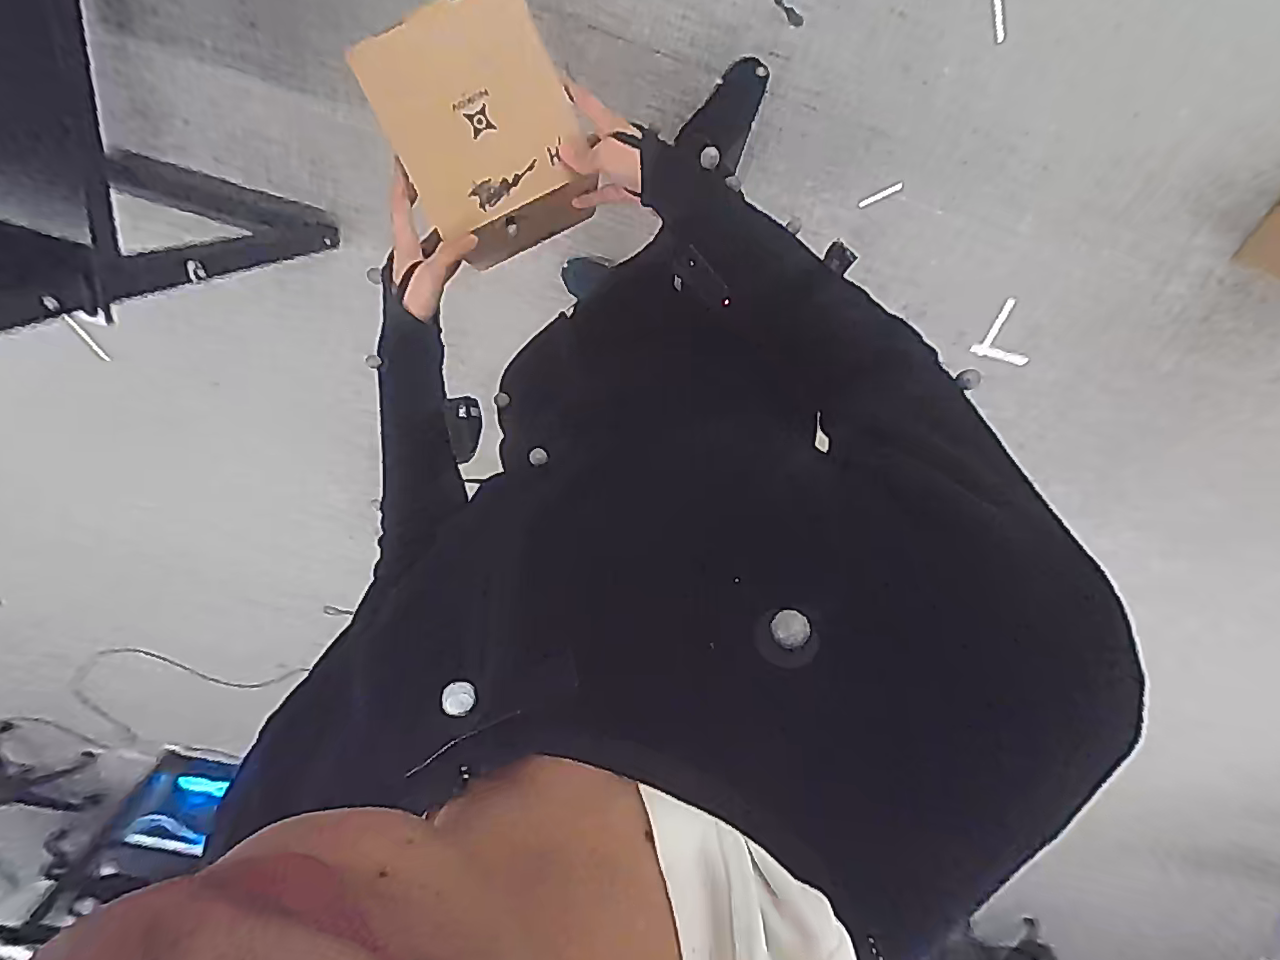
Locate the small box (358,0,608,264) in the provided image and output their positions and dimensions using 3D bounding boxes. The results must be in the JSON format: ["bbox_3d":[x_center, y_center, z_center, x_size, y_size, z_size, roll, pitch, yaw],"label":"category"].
[{"bbox_3d":[-0.147,-0.351,0.564,0.168,0.176,0.179,-25,105,0],"label":"small box"}]
